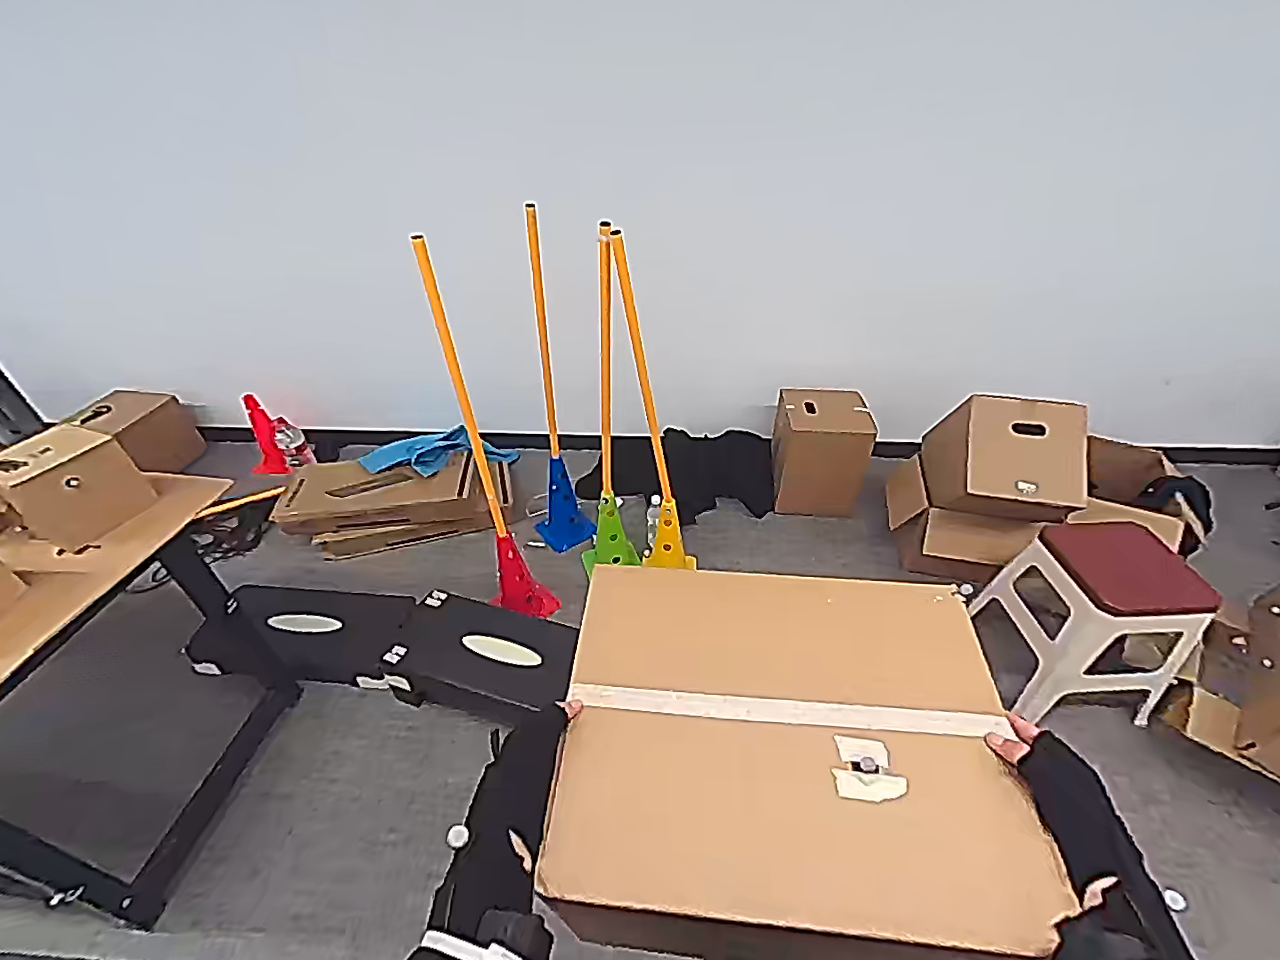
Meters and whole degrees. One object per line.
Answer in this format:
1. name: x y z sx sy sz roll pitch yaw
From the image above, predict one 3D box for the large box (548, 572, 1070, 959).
1. large box: 0.138 0.329 0.621 0.408 0.320 0.320 3 46 5
